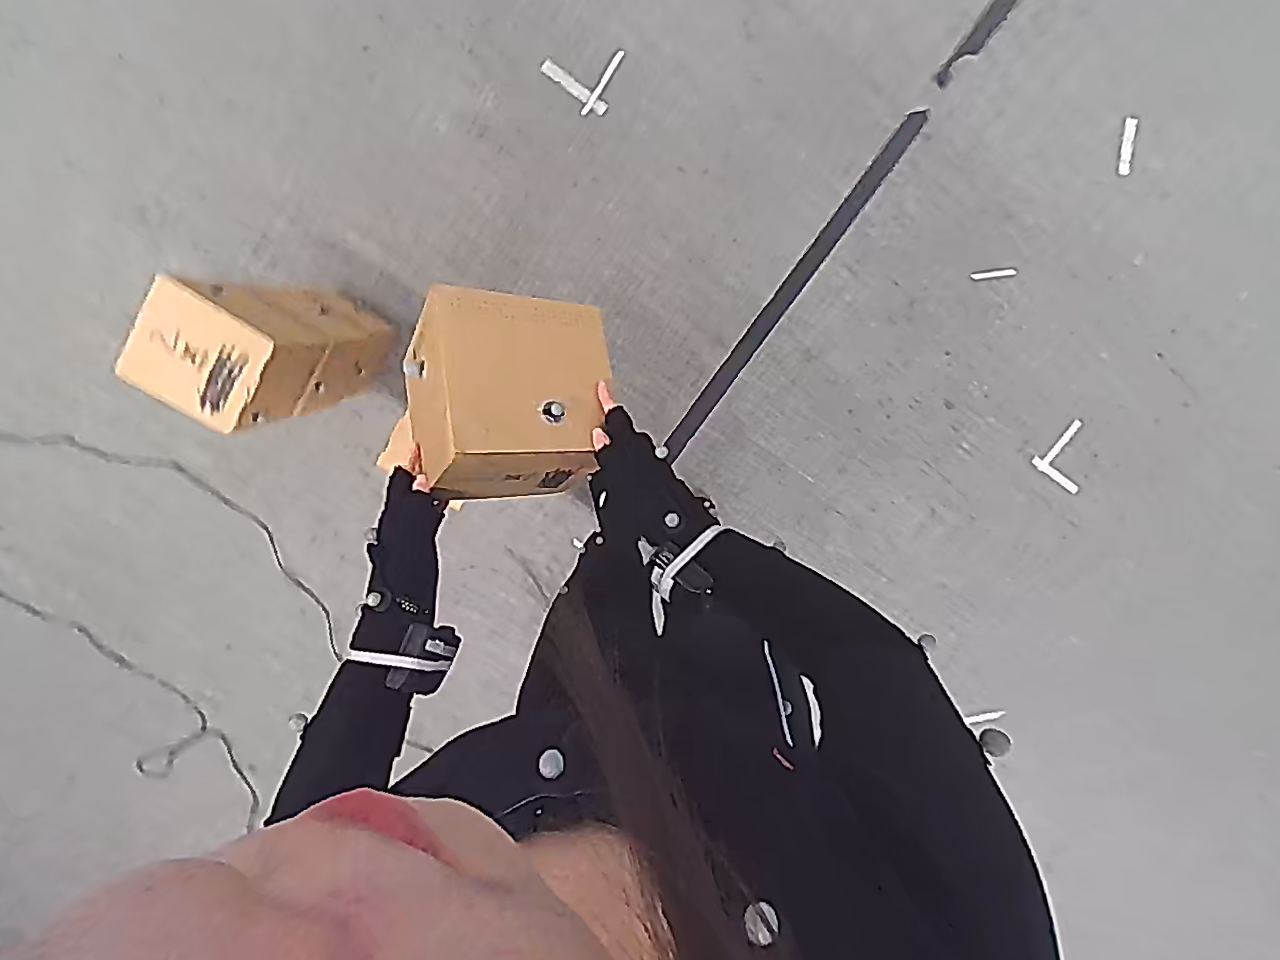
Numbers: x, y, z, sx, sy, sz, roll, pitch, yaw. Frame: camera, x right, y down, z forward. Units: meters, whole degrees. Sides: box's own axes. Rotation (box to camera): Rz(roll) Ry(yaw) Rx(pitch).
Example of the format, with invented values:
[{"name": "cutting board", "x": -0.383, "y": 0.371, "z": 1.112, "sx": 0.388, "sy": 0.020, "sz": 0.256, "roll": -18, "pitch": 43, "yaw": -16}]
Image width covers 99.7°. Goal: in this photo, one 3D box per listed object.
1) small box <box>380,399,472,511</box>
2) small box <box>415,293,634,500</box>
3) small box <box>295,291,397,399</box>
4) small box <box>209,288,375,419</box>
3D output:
[{"name": "small box", "x": -0.382, "y": -0.070, "z": 1.099, "sx": 0.179, "sy": 0.176, "sz": 0.168, "roll": 31, "pitch": 102, "yaw": -12}, {"name": "small box", "x": -0.131, "y": -0.081, "z": 0.585, "sx": 0.179, "sy": 0.168, "sz": 0.176, "roll": -3, "pitch": 77, "yaw": -33}, {"name": "small box", "x": -0.664, "y": -0.287, "z": 1.185, "sx": 0.168, "sy": 0.176, "sz": 0.179, "roll": 31, "pitch": 101, "yaw": -12}, {"name": "small box", "x": -0.649, "y": -0.238, "z": 1.028, "sx": 0.179, "sy": 0.176, "sz": 0.168, "roll": 31, "pitch": 102, "yaw": -11}]
